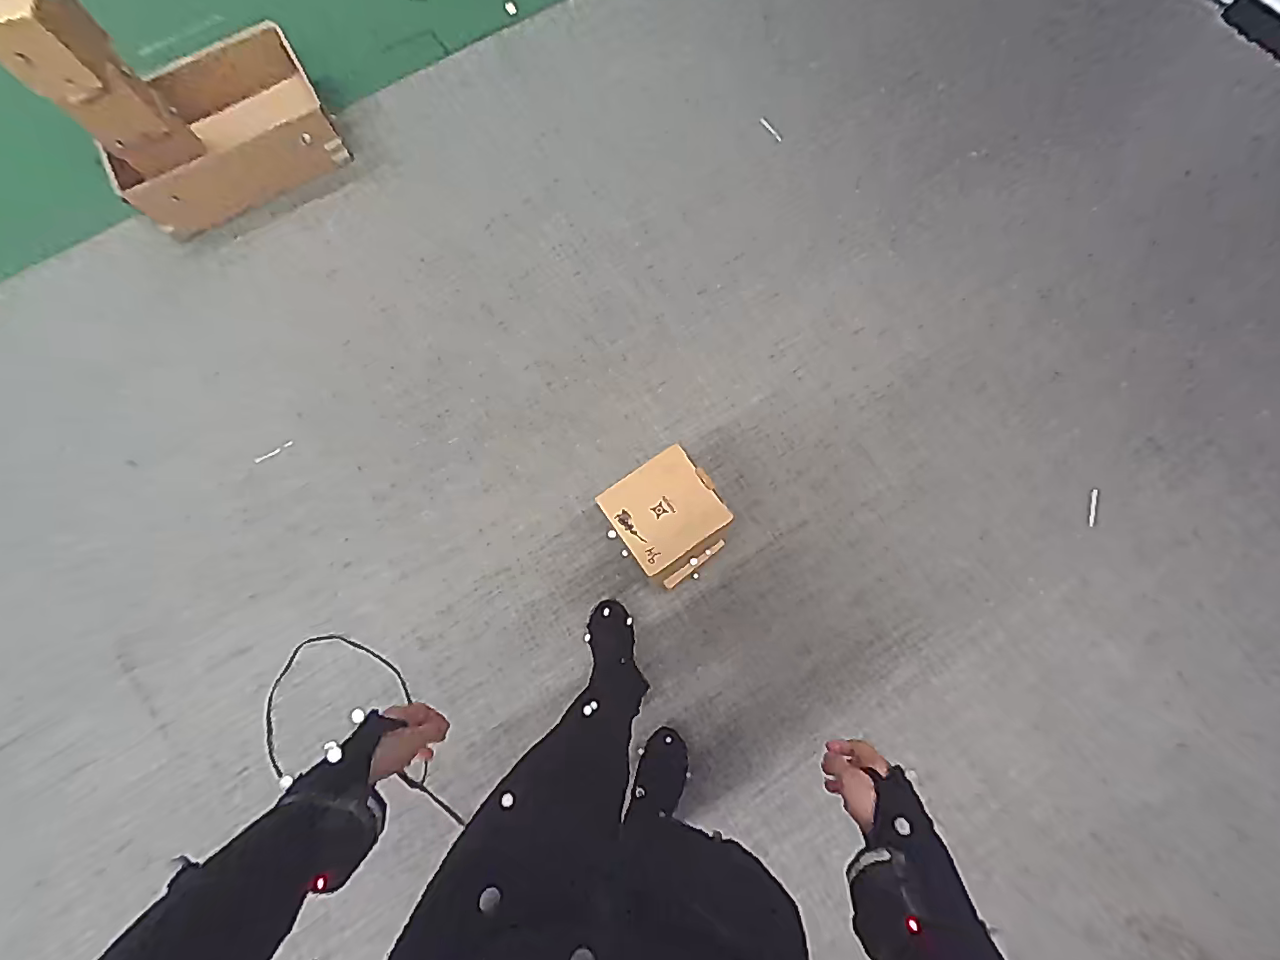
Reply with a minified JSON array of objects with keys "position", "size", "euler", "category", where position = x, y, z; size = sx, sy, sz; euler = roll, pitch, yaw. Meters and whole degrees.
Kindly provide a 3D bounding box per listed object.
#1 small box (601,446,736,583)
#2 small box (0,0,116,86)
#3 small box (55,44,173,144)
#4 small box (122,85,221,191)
[{"position":[0.048,0.070,0.983],"size":[0.179,0.176,0.168],"euler":[-33,75,-7],"category":"small box"},{"position":[-1.412,-1.078,1.289],"size":[0.168,0.176,0.179],"euler":[-9,74,-1],"category":"small box"},{"position":[-1.413,-1.041,1.447],"size":[0.168,0.176,0.179],"euler":[-31,76,-7],"category":"small box"},{"position":[-1.408,-1.011,1.609],"size":[0.168,0.176,0.179],"euler":[-32,77,-6],"category":"small box"}]
